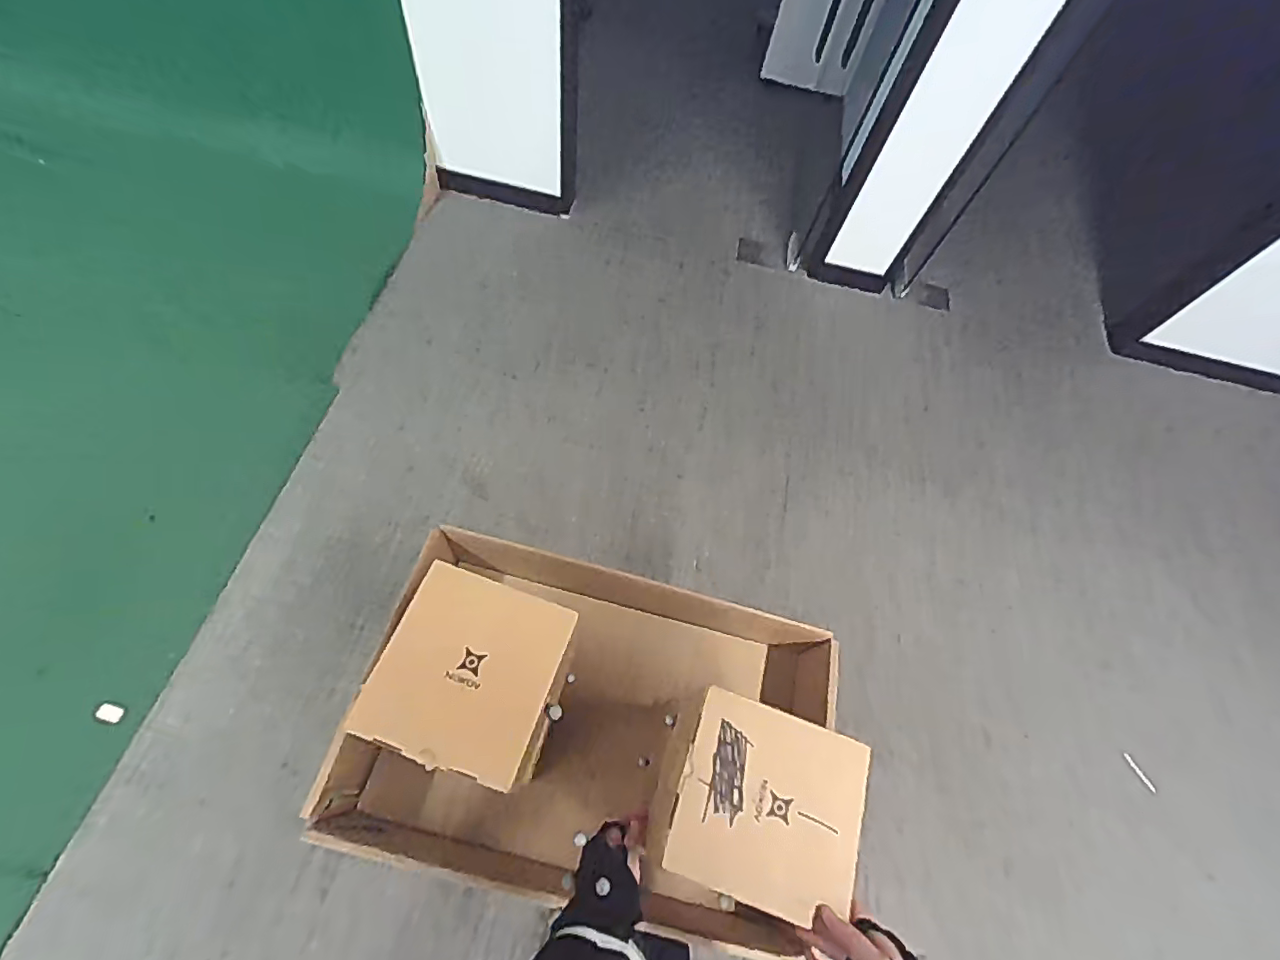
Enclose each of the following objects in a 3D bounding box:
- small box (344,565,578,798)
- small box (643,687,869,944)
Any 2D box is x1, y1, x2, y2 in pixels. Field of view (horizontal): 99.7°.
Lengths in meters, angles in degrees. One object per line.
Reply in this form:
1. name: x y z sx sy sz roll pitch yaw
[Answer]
1. small box: -0.179 0.224 0.598 0.168 0.176 0.179 20 62 2
2. small box: 0.113 0.343 0.577 0.179 0.176 0.168 21 62 3
